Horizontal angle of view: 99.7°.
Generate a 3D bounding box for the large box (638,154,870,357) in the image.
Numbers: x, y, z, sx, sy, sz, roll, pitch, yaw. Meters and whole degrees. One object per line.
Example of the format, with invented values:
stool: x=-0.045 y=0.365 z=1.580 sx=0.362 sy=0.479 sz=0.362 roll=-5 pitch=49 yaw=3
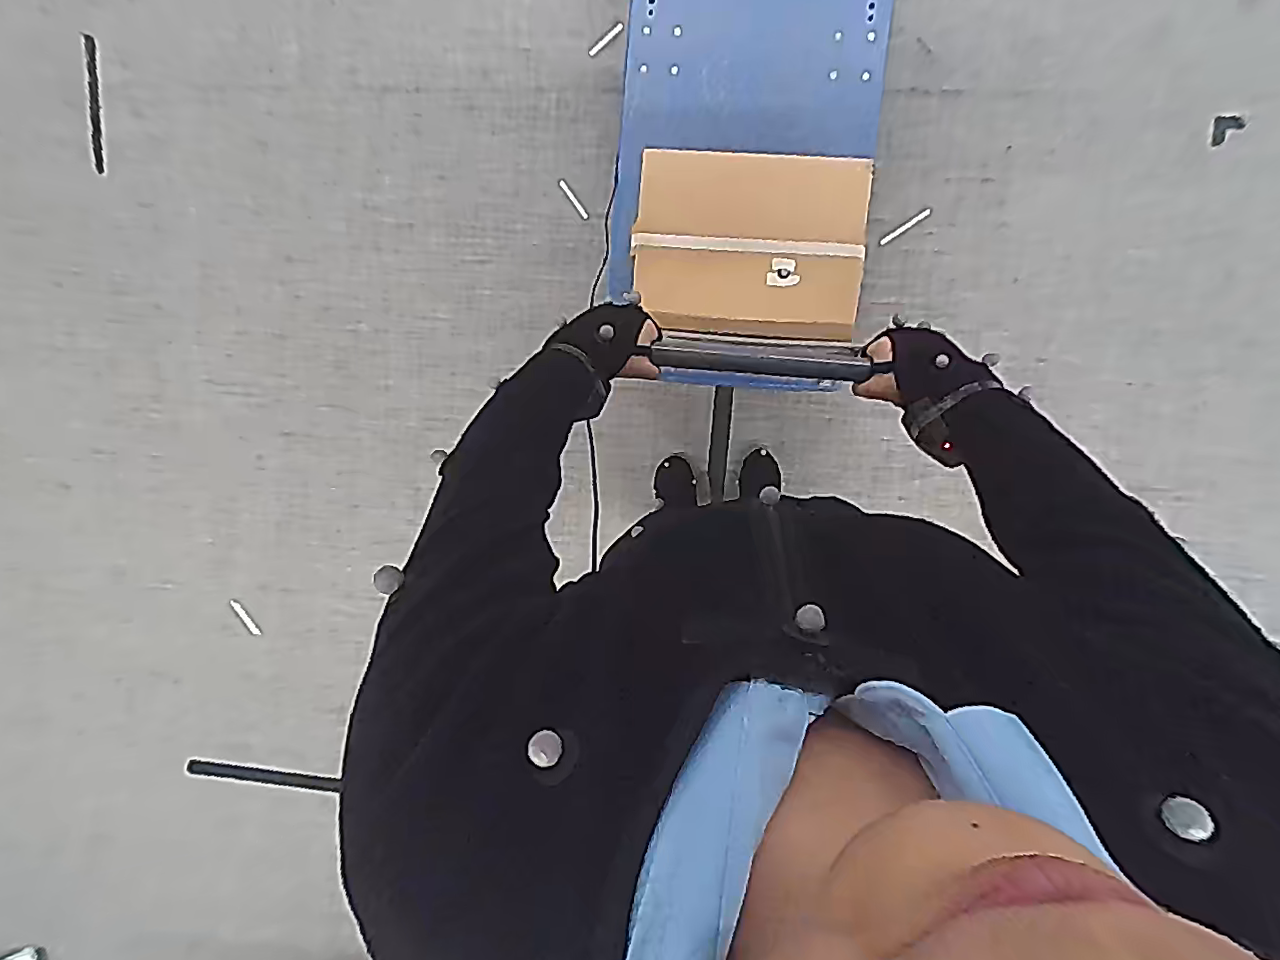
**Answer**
large box: x=0.210 y=-0.441 z=1.130 sx=0.408 sy=0.320 sz=0.320 roll=5 pitch=97 yaw=4
